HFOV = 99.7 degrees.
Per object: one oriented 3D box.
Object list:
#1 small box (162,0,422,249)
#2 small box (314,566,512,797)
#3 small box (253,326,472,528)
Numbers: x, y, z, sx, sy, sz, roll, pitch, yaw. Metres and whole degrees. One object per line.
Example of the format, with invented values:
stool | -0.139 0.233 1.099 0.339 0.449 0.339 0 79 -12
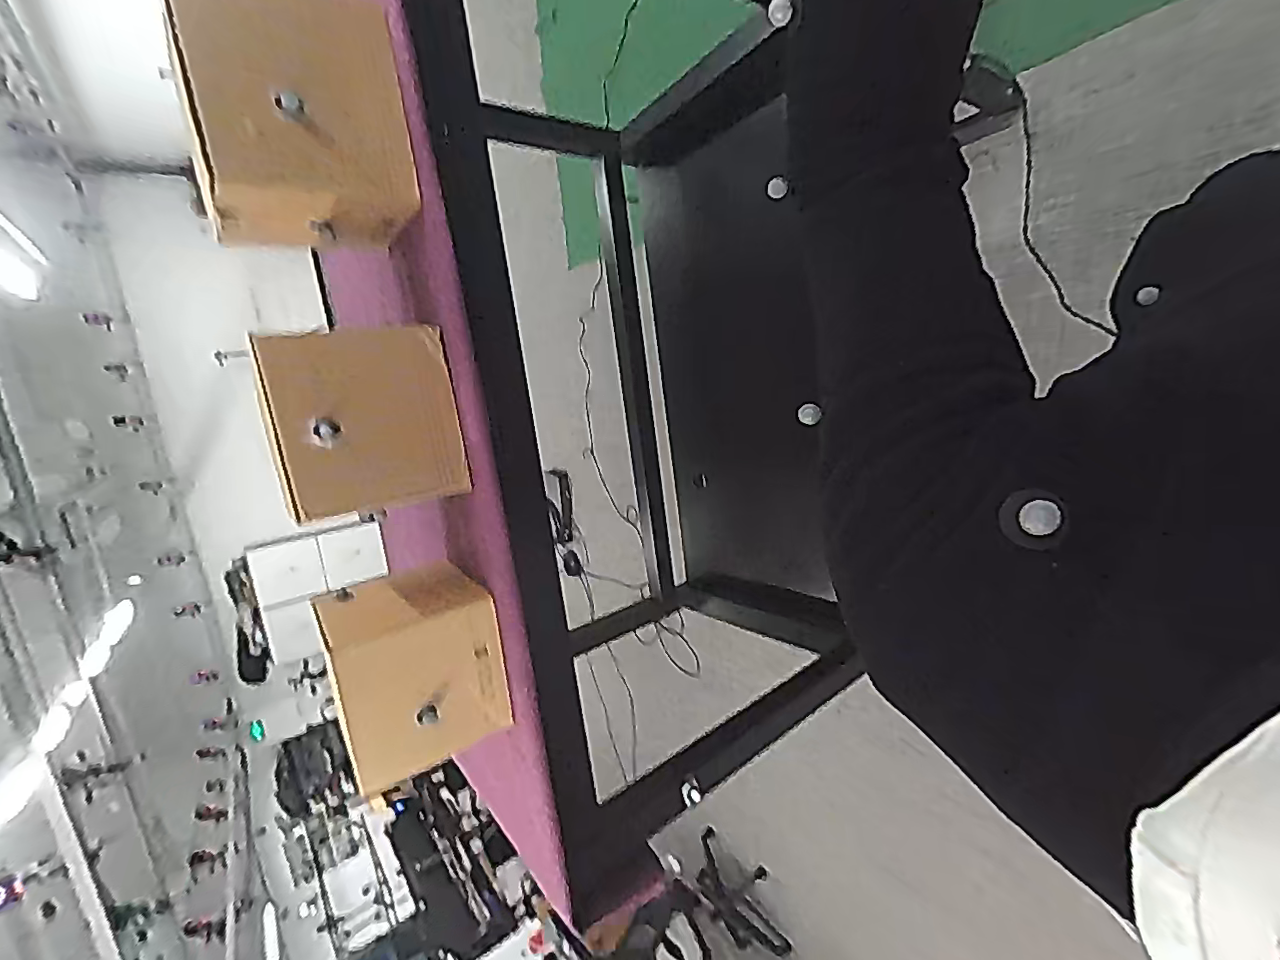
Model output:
small box | -0.330 -0.340 0.528 0.168 0.176 0.179 3 106 52
small box | -0.259 0.214 0.633 0.179 0.176 0.168 10 110 54
small box | -0.295 -0.059 0.584 0.168 0.176 0.179 1 103 54
